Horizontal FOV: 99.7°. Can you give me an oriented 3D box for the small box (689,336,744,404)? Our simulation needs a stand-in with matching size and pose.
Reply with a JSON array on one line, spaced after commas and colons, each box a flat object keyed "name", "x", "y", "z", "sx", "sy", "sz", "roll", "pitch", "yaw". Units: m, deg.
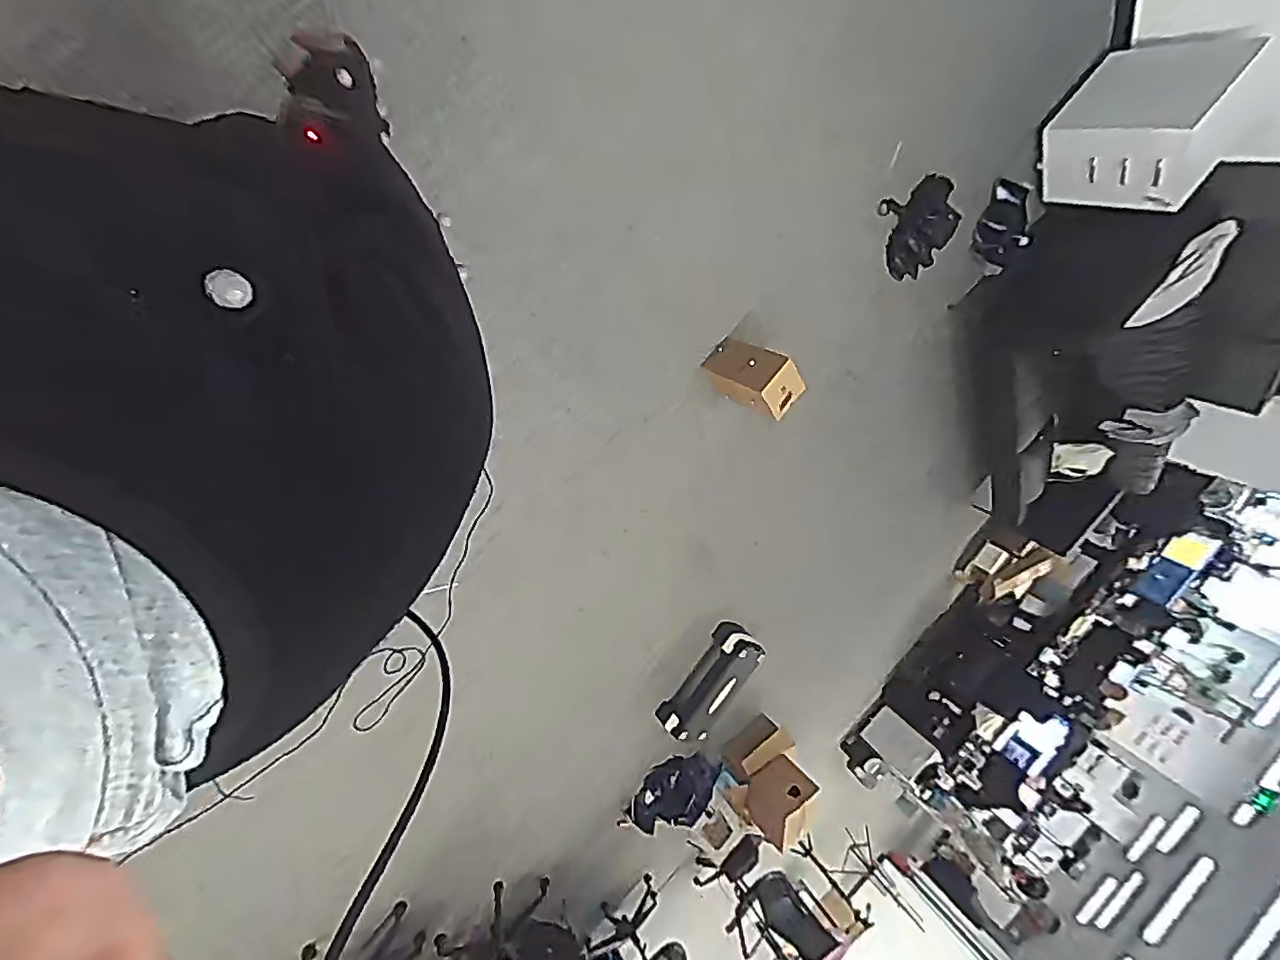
[{"name": "small box", "x": 0.324, "y": -0.431, "z": 2.092, "sx": 0.168, "sy": 0.176, "sz": 0.179, "roll": -50, "pitch": 135, "yaw": -3}]

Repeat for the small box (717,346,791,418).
[{"name": "small box", "x": 0.416, "y": -0.362, "z": 1.974, "sx": 0.168, "sy": 0.176, "sz": 0.179, "roll": -50, "pitch": 136, "yaw": -3}]
